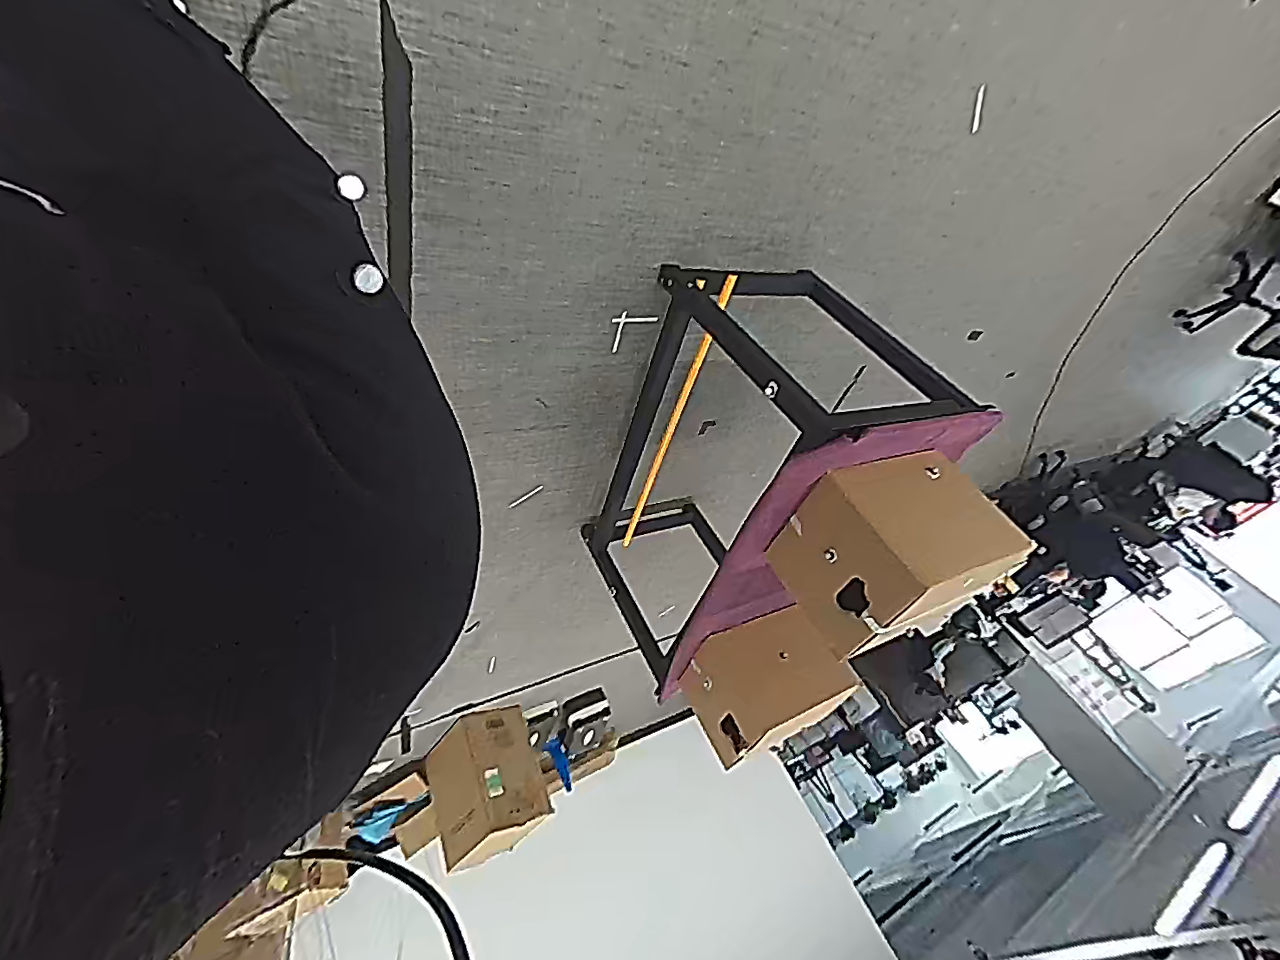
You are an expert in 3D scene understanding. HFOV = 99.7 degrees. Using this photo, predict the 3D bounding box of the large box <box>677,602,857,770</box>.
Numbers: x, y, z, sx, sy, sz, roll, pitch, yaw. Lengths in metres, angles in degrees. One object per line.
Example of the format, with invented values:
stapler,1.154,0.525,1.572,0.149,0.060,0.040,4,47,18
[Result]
large box,0.392,0.649,1.740,0.408,0.320,0.320,-11,141,-30
